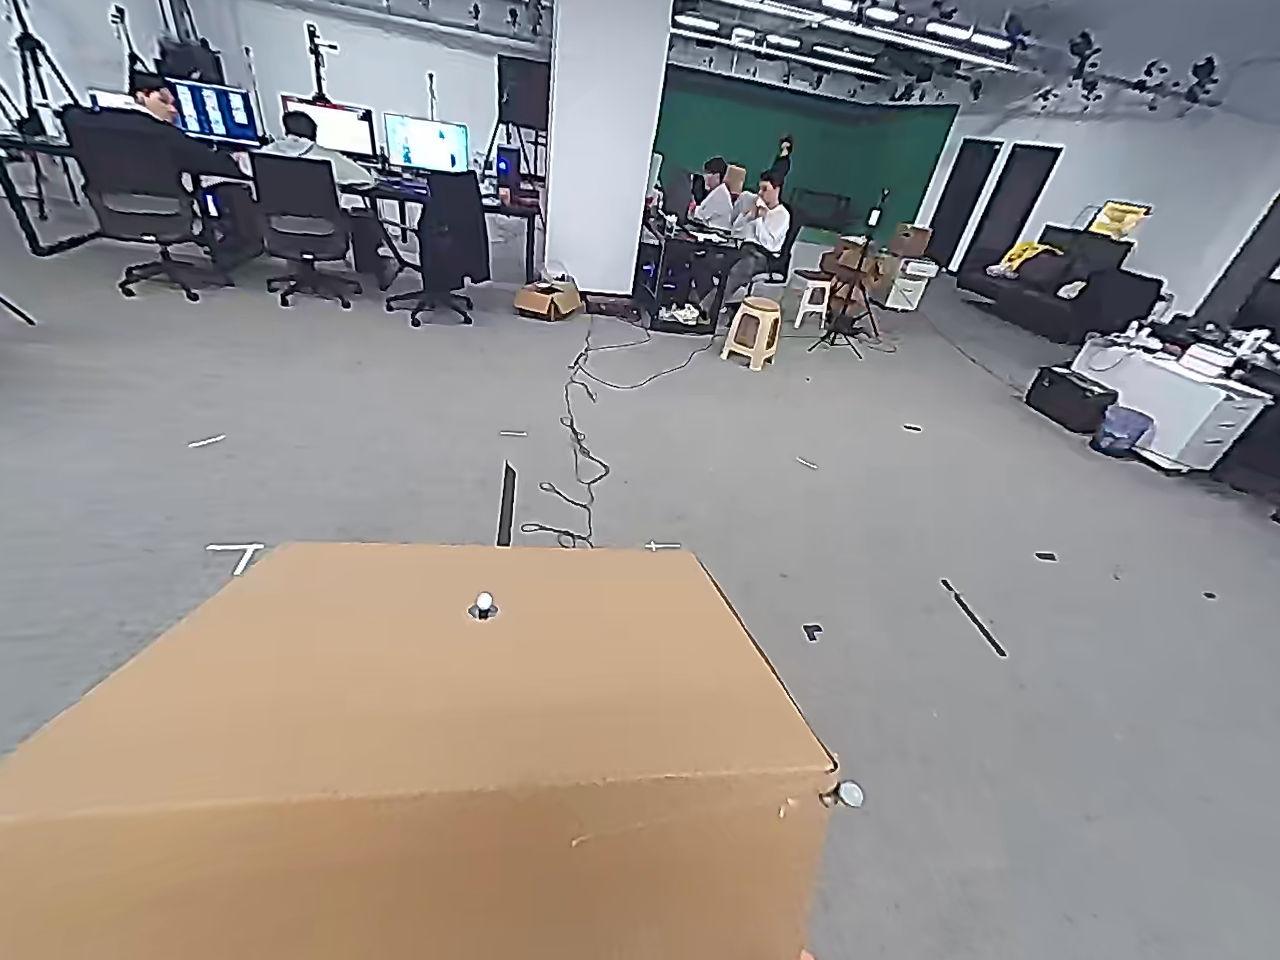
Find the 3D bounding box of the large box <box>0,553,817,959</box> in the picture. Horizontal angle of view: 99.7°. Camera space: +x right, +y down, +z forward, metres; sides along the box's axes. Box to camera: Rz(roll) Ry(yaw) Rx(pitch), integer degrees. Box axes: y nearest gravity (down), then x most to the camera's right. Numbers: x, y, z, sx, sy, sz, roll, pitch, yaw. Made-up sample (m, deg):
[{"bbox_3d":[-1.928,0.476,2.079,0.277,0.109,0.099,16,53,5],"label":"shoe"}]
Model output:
[{"bbox_3d":[-0.129,0.257,0.449,0.408,0.320,0.320,2,15,-10],"label":"large box"}]
